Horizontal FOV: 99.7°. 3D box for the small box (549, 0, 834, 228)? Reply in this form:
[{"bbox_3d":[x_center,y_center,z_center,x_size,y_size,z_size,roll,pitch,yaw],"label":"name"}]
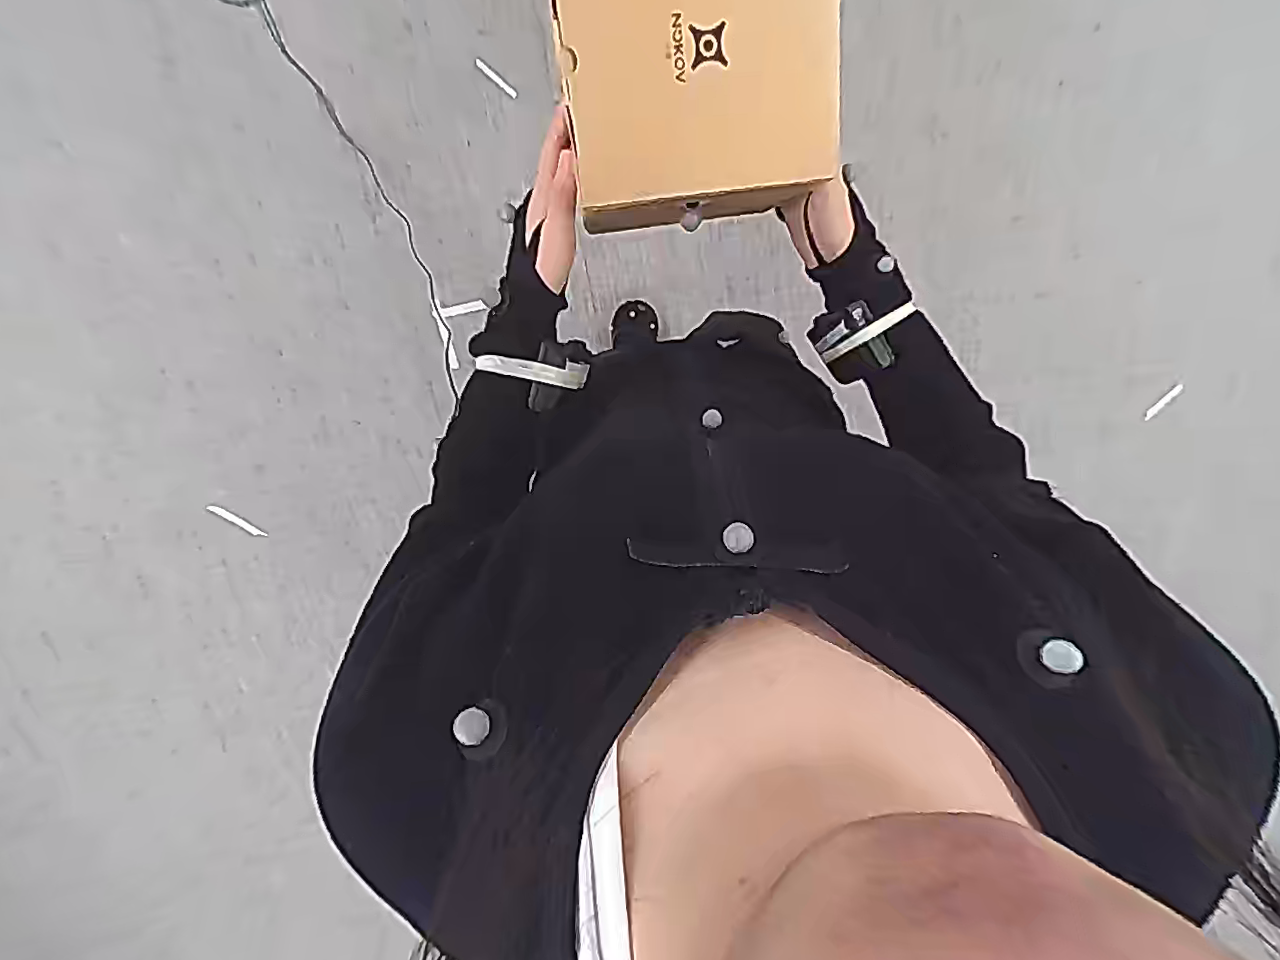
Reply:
[{"bbox_3d":[0.031,-0.296,0.412,0.179,0.176,0.168,-7,110,0],"label":"small box"}]
